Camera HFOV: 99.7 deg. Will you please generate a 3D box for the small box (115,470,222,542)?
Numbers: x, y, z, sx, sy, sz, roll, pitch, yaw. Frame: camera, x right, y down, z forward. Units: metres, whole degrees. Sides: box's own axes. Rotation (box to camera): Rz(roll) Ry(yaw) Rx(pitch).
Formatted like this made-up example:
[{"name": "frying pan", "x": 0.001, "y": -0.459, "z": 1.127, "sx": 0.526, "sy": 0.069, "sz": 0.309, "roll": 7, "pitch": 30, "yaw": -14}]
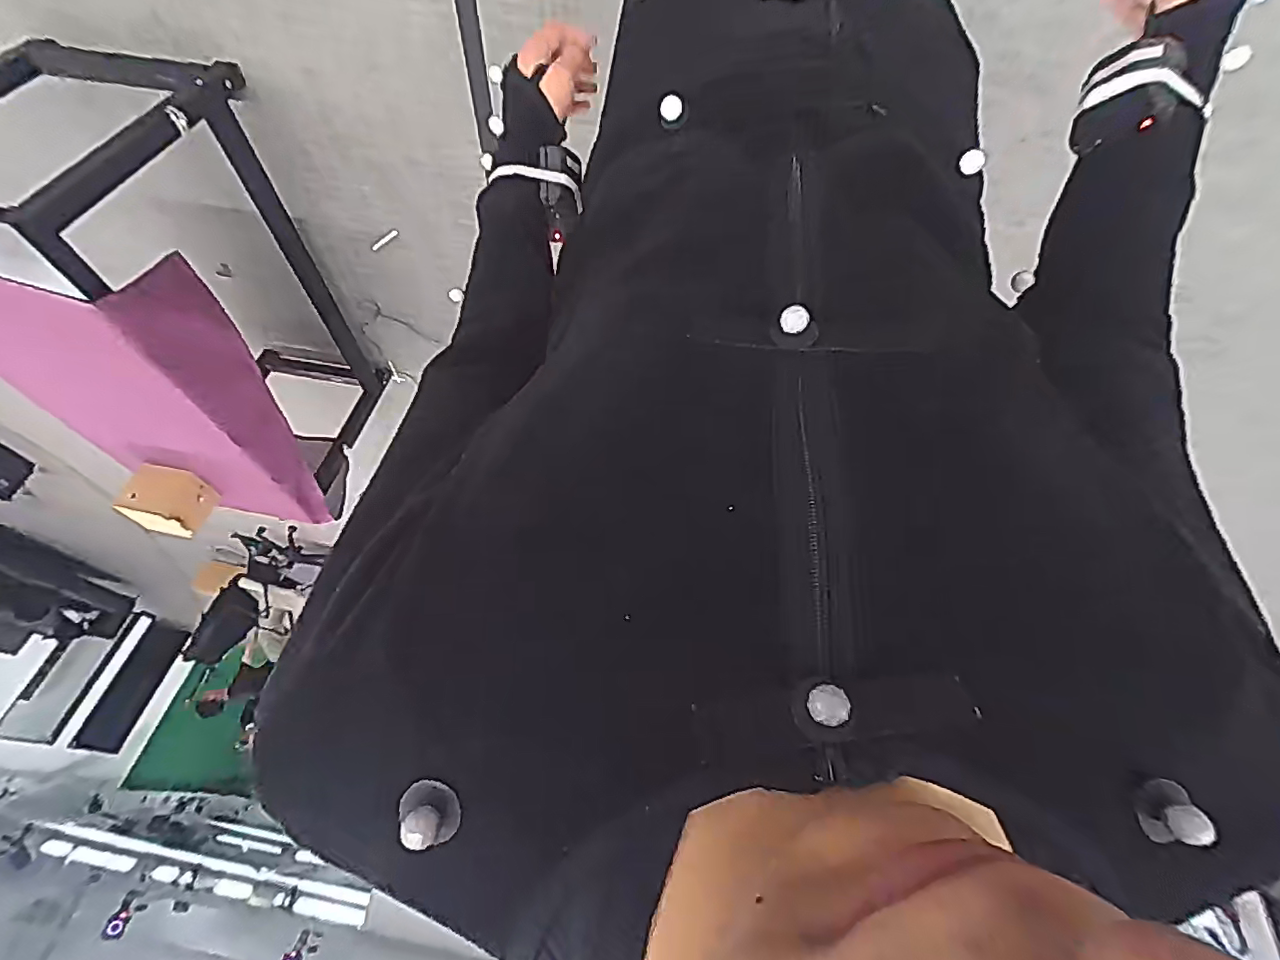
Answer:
[{"name": "small box", "x": -1.580, "y": 0.085, "z": 1.825, "sx": 0.179, "sy": 0.176, "sz": 0.168, "roll": 11, "pitch": 148, "yaw": 1}]
